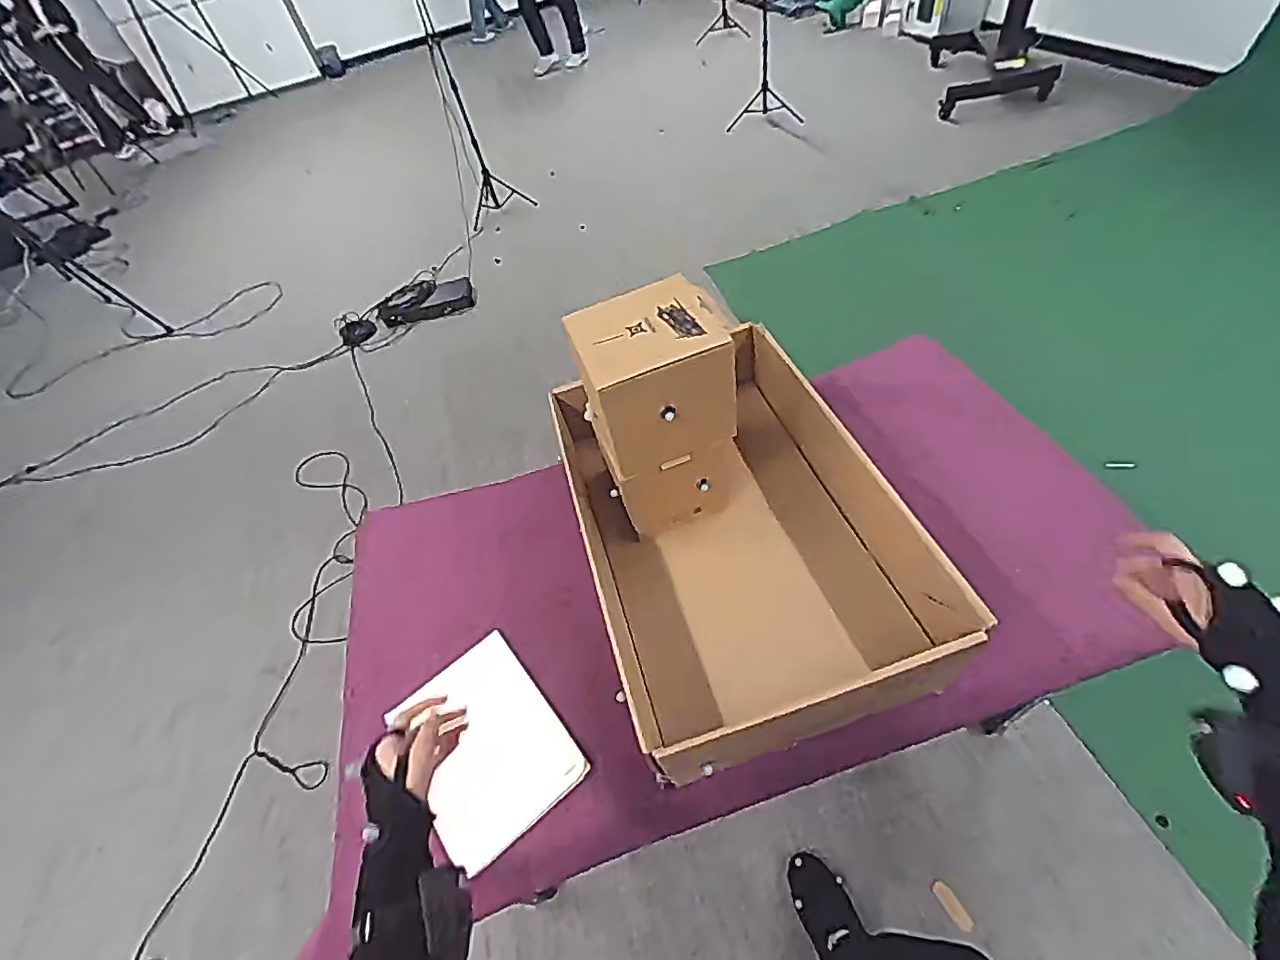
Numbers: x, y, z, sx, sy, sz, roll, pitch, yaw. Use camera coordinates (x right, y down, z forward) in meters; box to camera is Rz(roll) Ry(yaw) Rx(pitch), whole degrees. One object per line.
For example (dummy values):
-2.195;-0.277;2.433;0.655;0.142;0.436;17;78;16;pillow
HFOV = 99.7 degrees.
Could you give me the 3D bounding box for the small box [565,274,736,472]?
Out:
0.018;-0.142;0.734;0.179;0.176;0.168;-21;51;-5;small box
